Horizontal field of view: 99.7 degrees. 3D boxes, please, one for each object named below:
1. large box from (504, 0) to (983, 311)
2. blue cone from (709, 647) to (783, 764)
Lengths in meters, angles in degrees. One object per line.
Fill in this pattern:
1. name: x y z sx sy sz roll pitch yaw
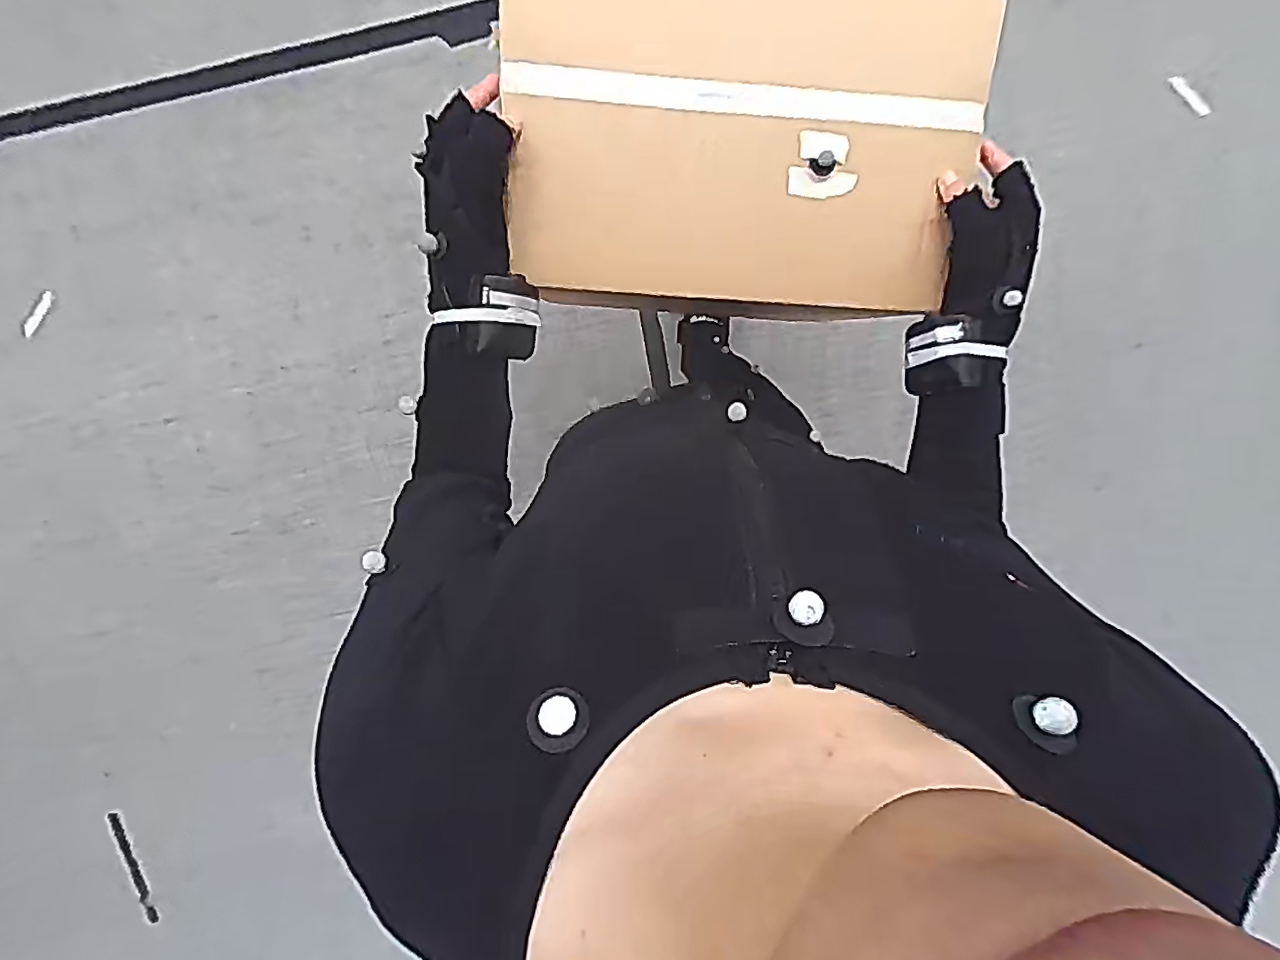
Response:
1. large box: 0.076 -0.365 0.604 0.408 0.320 0.320 2 105 -4
2. blue cone: 0.307 0.617 1.427 0.193 0.380 0.192 9 100 -3
